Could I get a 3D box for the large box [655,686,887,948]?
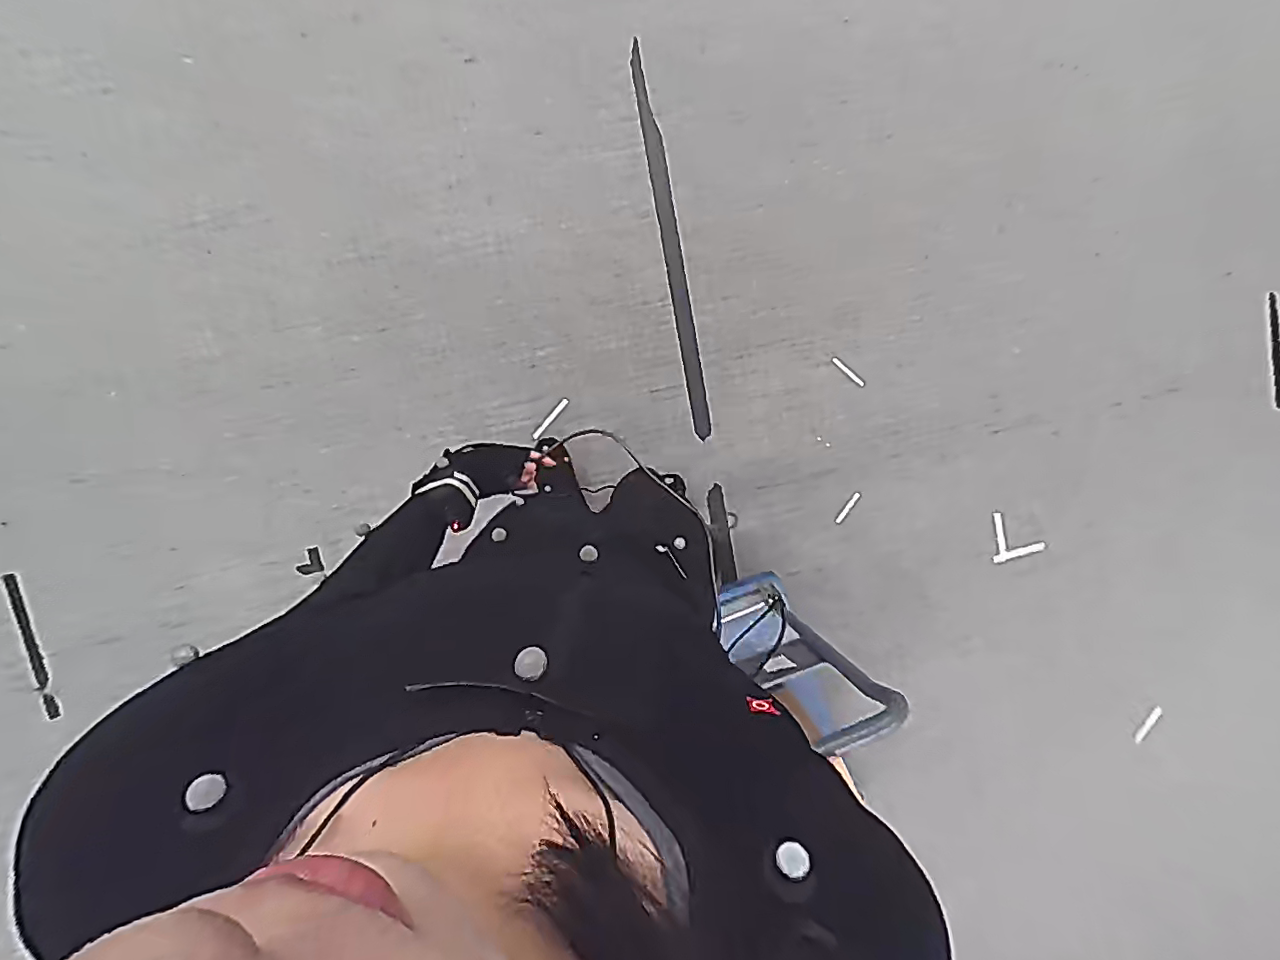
[{"bbox_3d":[0.293,0.783,1.311,0.408,0.320,0.320,-27,97,-2],"label":"large box"}]
